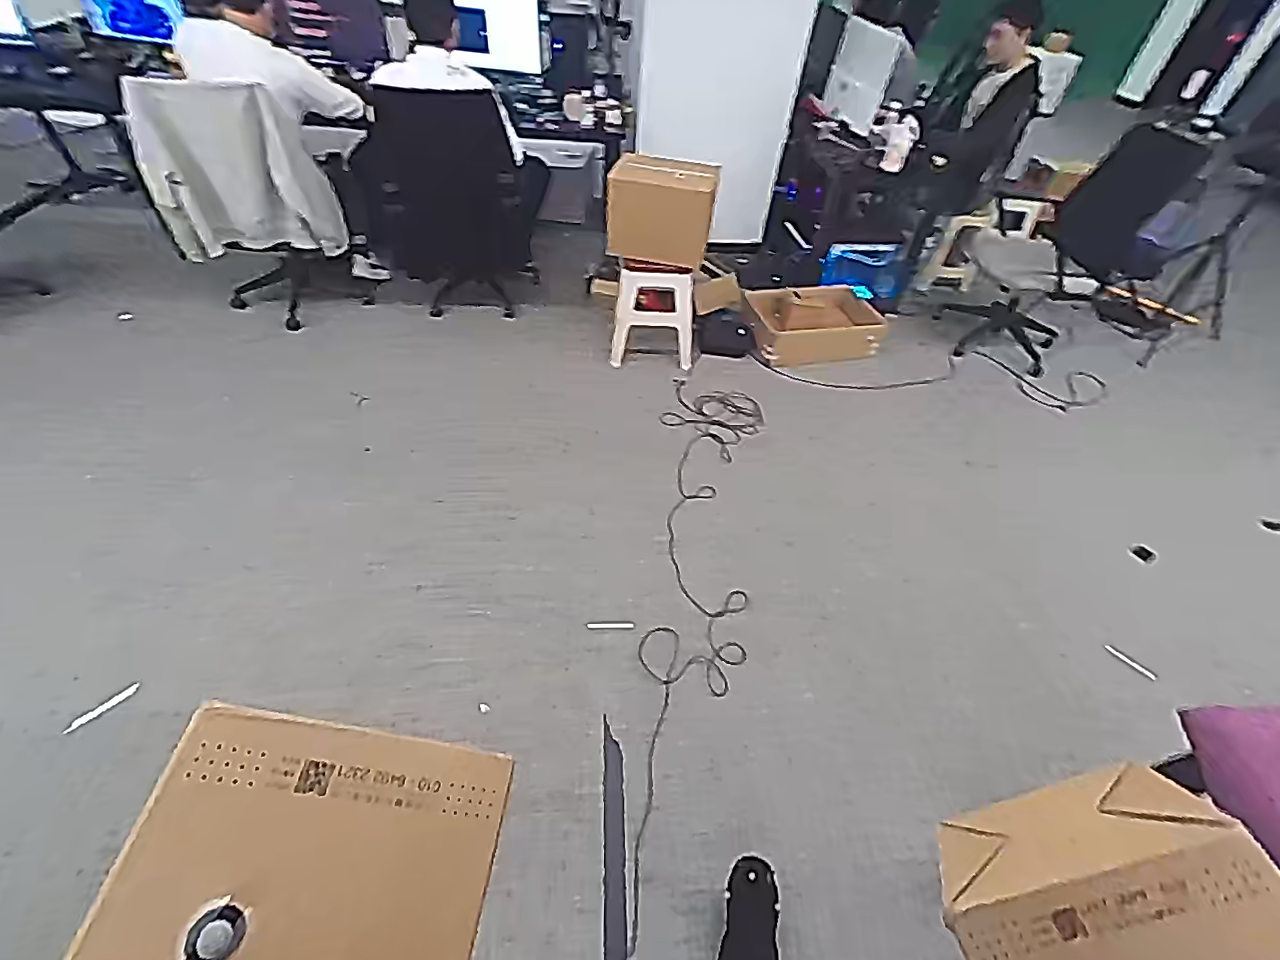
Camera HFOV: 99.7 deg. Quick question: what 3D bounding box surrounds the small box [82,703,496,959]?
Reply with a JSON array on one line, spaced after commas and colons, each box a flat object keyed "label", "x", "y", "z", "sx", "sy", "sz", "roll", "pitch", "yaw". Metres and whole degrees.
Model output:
[{"label": "small box", "x": -0.201, "y": 0.238, "z": 0.322, "sx": 0.168, "sy": 0.179, "sz": 0.176, "roll": 25, "pitch": 55, "yaw": -24}]
